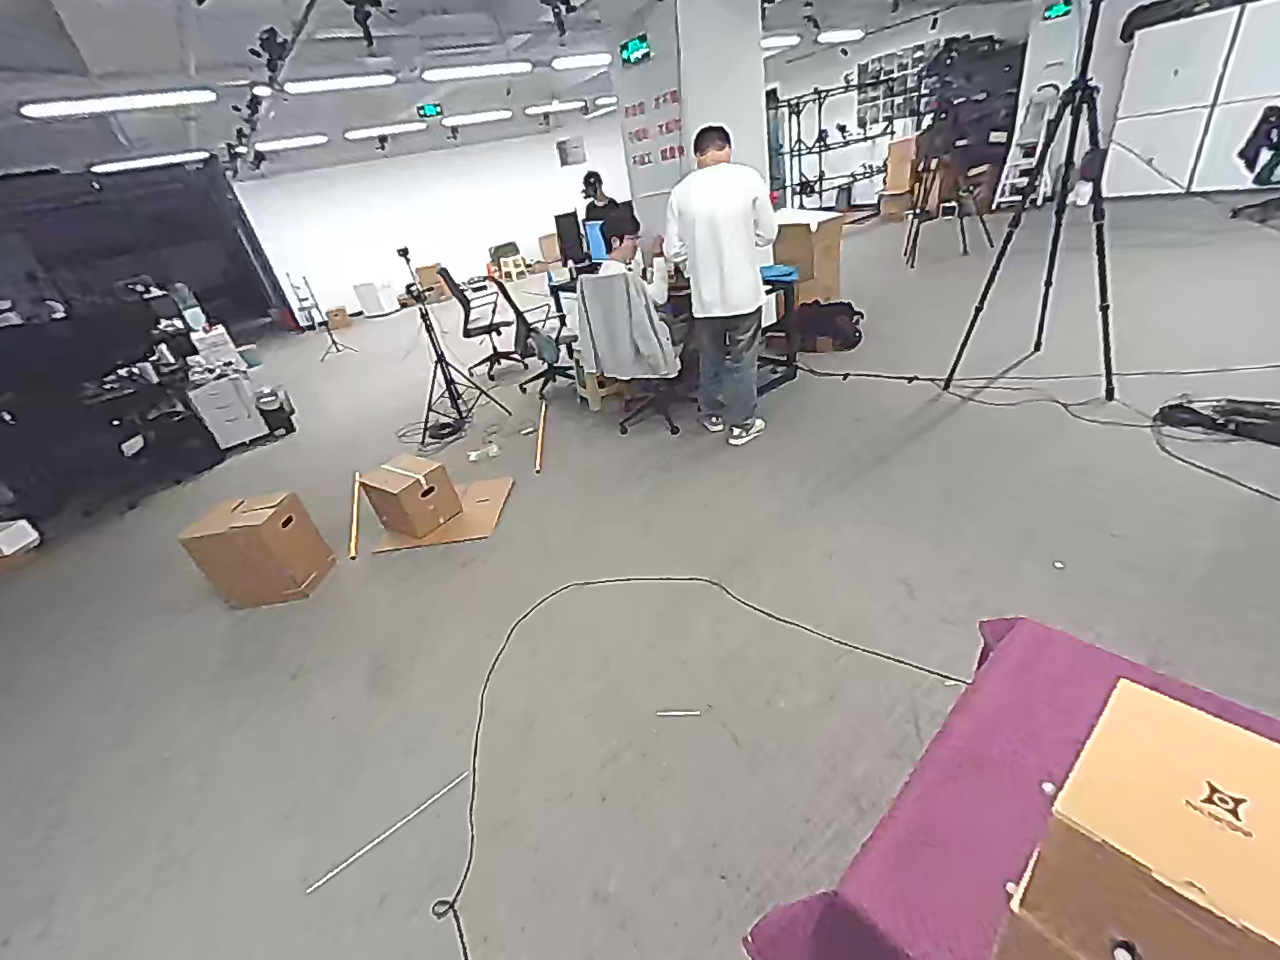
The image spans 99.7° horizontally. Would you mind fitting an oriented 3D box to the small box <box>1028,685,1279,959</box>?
[{"bbox_3d":[0.458,0.322,0.453,0.179,0.176,0.168,-31,35,-30],"label":"small box"}]
